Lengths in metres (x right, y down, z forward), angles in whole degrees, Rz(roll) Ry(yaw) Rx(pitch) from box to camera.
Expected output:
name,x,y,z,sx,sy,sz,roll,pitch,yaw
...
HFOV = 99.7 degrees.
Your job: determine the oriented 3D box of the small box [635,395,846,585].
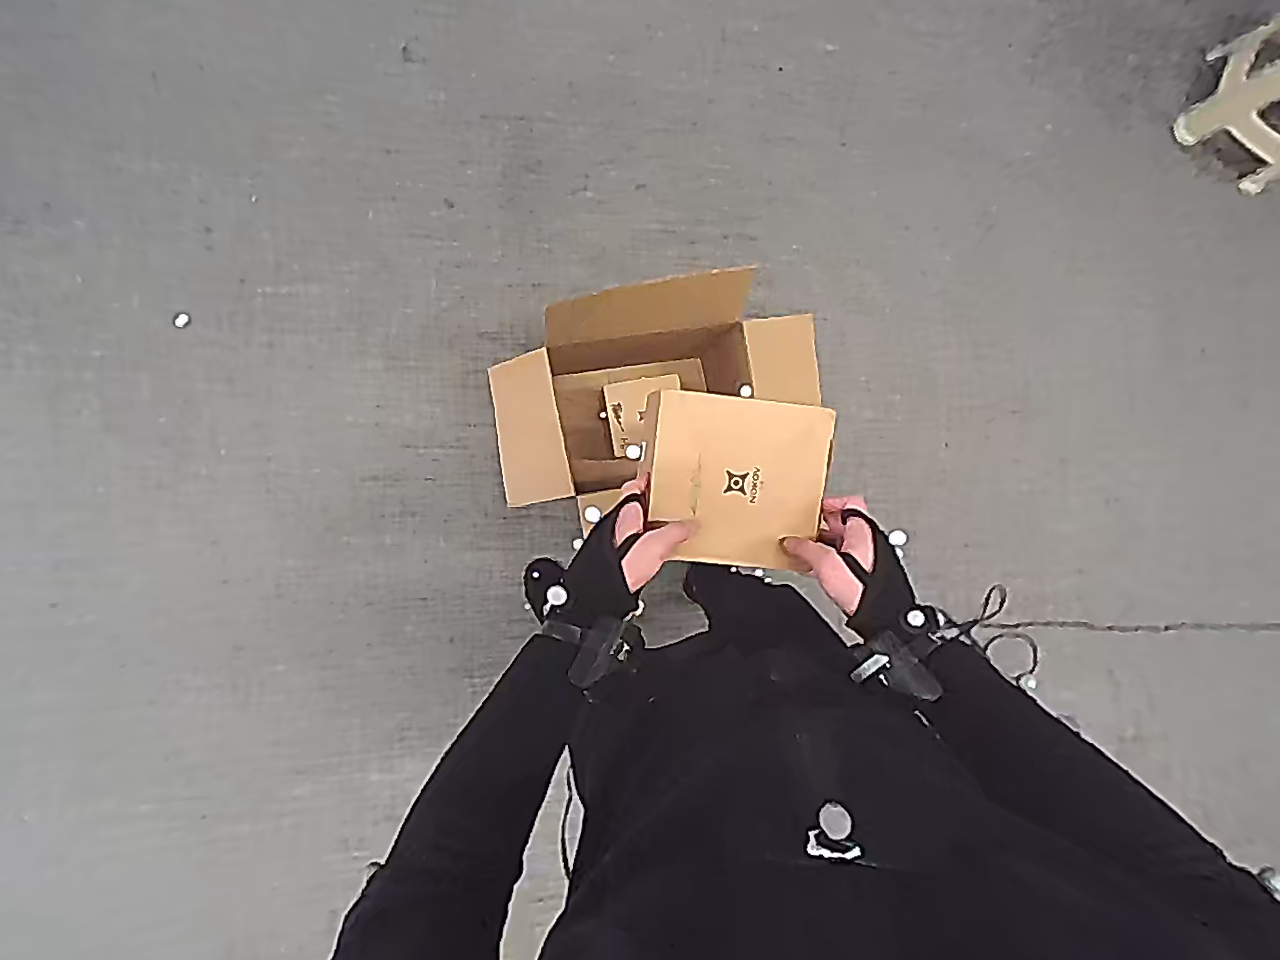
name,x,y,z,sx,sy,sz,roll,pitch,yaw
small box,0.096,0.006,0.595,0.179,0.176,0.168,8,93,-5
